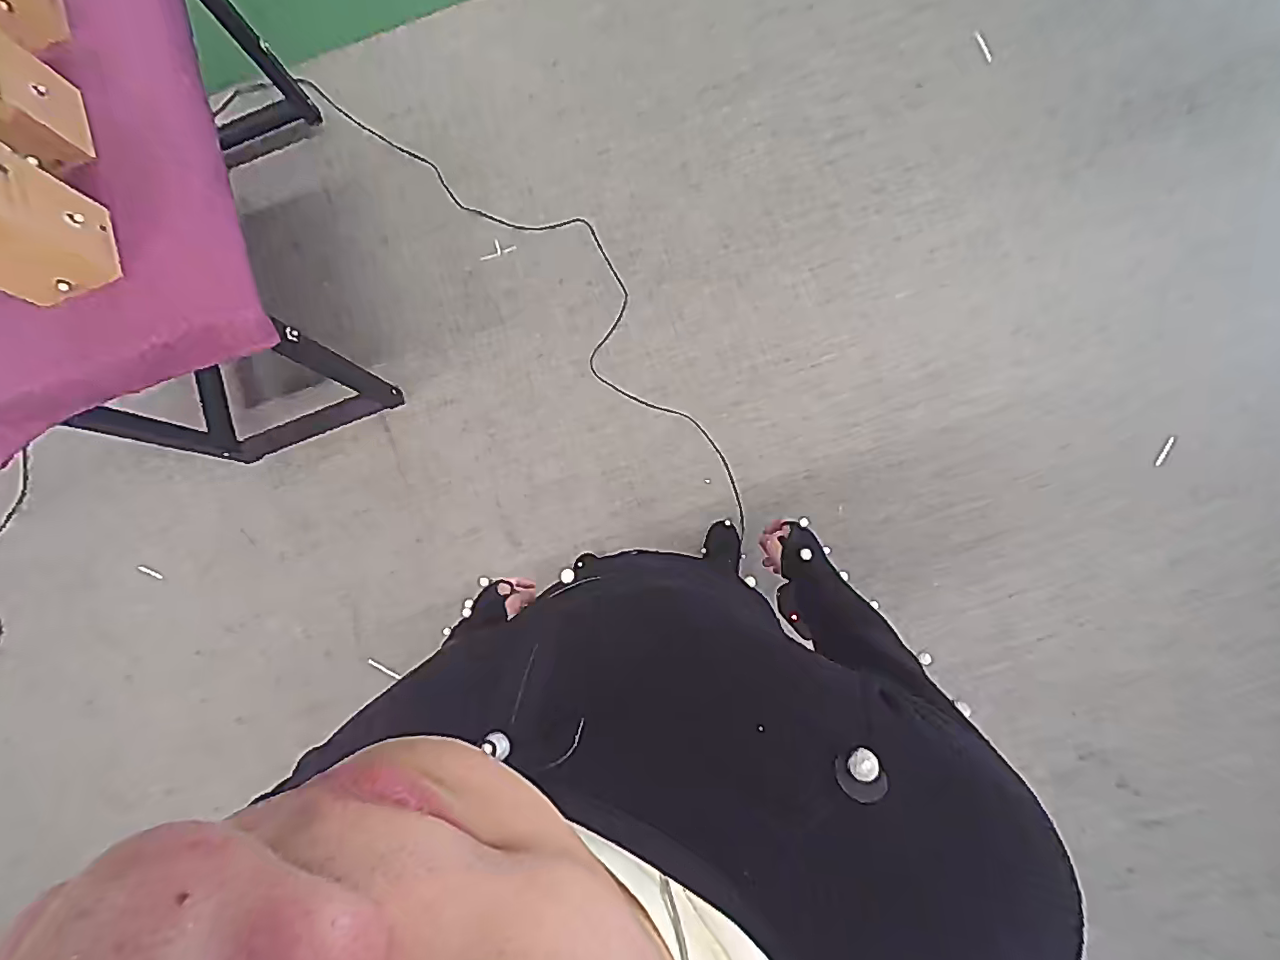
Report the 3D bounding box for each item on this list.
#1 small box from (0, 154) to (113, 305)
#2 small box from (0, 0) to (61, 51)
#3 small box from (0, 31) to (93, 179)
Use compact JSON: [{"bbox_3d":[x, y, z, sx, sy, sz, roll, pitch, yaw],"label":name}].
[{"bbox_3d":[-1.156,-0.463,1.022,0.179,0.176,0.168,-21,80,1],"label":"small box"},{"bbox_3d":[-1.360,-1.031,1.116,0.179,0.176,0.168,-20,81,2],"label":"small box"},{"bbox_3d":[-1.251,-0.734,1.067,0.168,0.176,0.179,-21,82,2],"label":"small box"}]
